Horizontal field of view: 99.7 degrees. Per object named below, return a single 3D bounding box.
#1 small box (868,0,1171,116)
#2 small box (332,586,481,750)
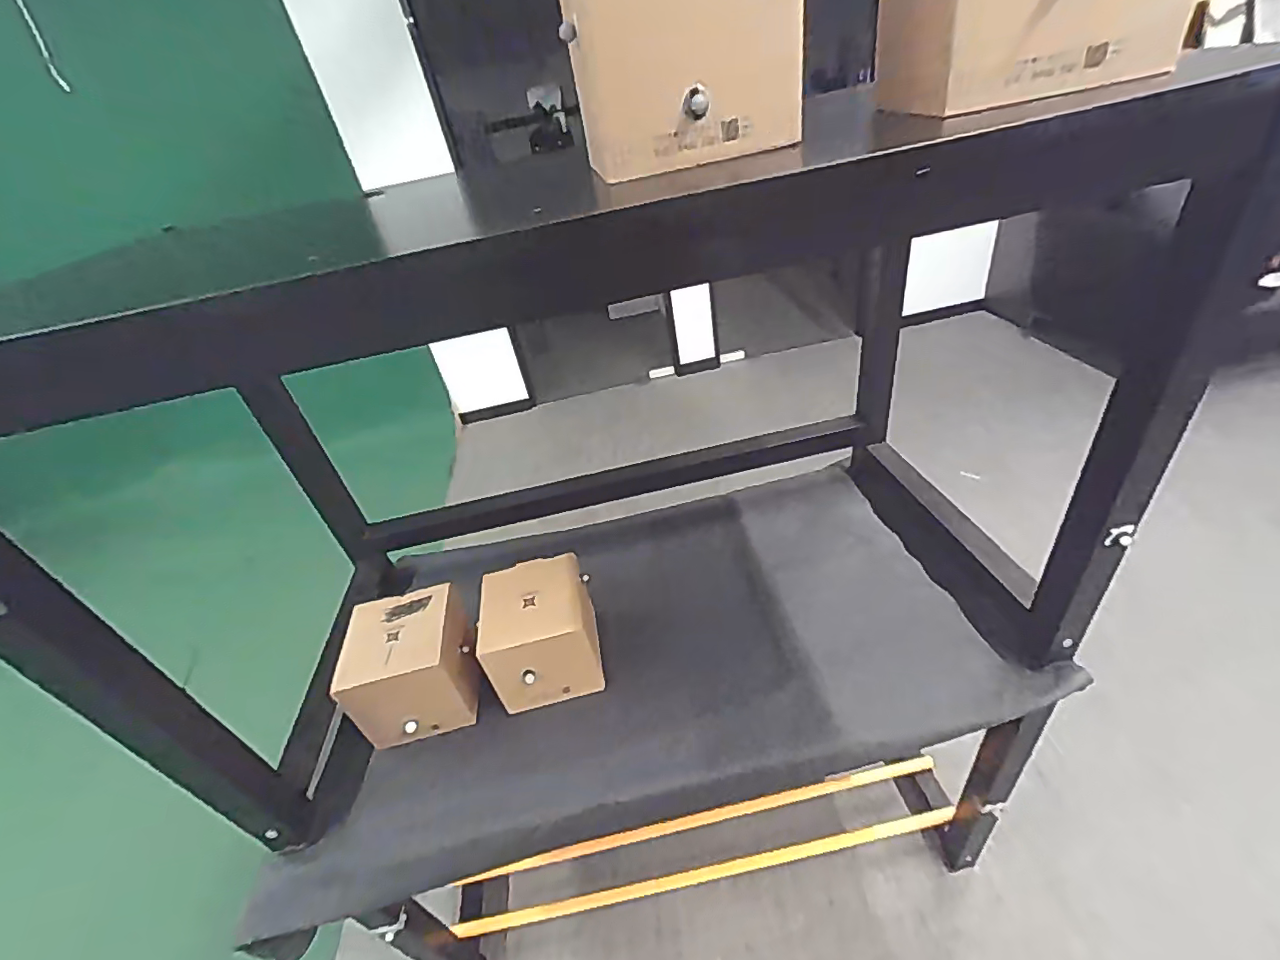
[{"bbox_3d":[0.295,-0.407,0.434,0.168,0.176,0.179,-7,35,7],"label":"small box"},{"bbox_3d":[-0.376,0.313,0.909,0.168,0.176,0.179,-14,35,-3],"label":"small box"}]
